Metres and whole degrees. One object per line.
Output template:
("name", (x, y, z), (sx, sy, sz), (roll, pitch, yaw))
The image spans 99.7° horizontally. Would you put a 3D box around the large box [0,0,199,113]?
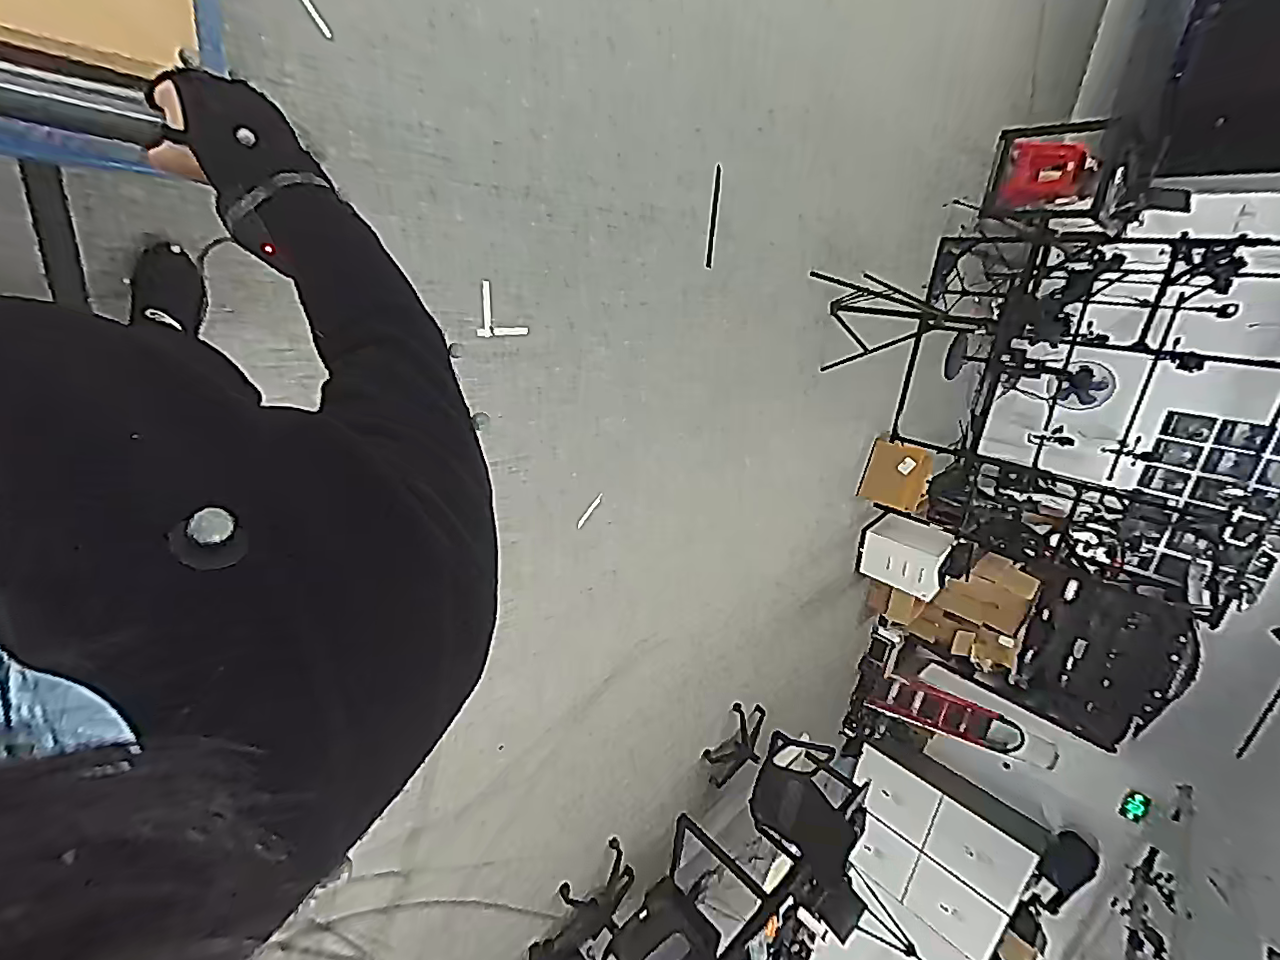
("large box", (-0.825, -0.680, 0.636), (0.408, 0.320, 0.320), (-14, 119, -44))
